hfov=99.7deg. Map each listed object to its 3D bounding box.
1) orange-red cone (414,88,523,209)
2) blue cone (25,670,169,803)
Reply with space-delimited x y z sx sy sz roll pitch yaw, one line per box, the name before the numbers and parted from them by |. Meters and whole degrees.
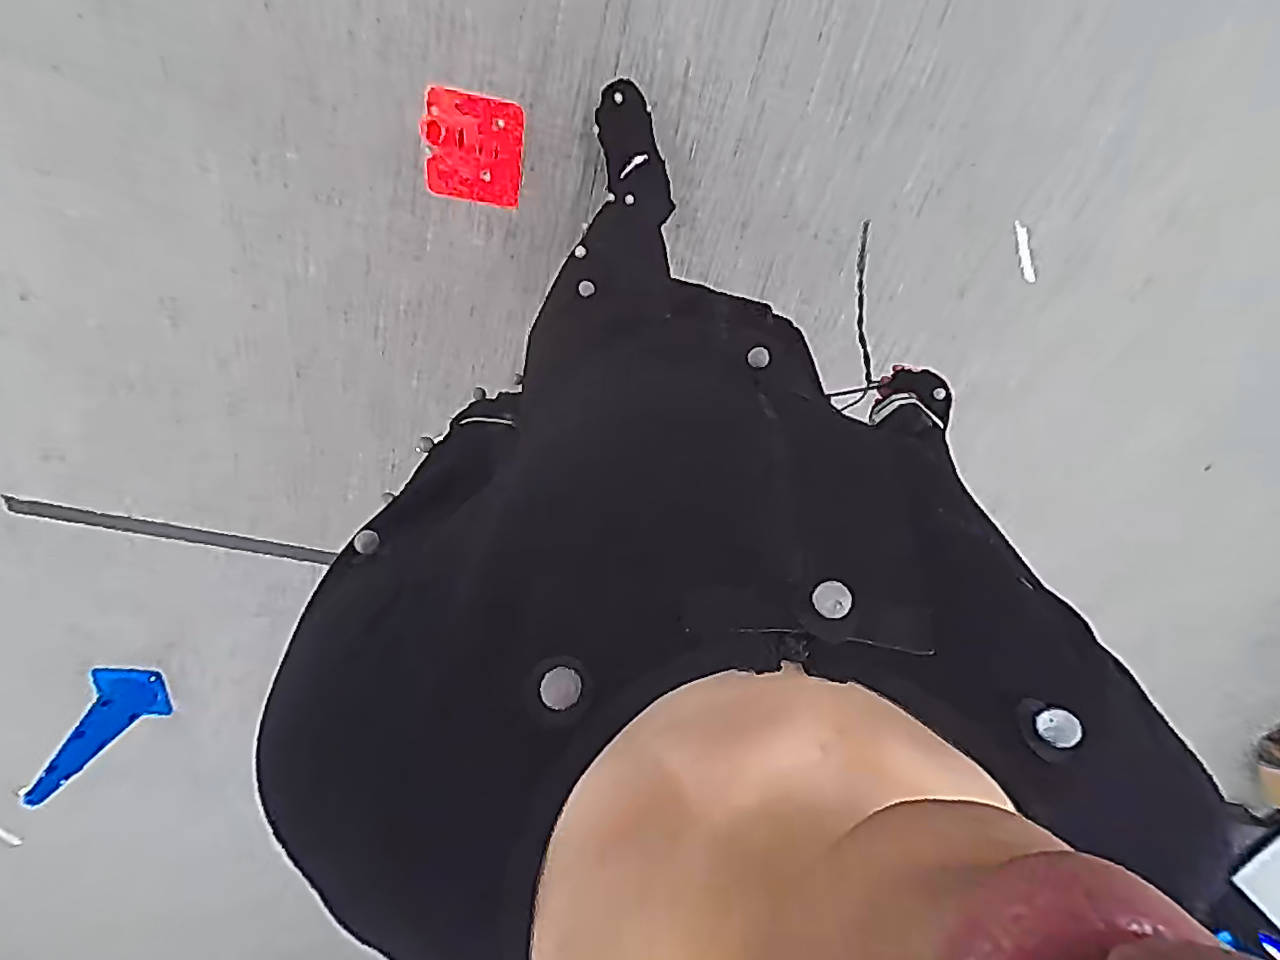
orange-red cone | -0.346 -0.621 0.992 0.199 0.360 0.198 9 115 -8
blue cone | -1.605 0.757 1.580 0.193 0.380 0.192 7 116 -9
